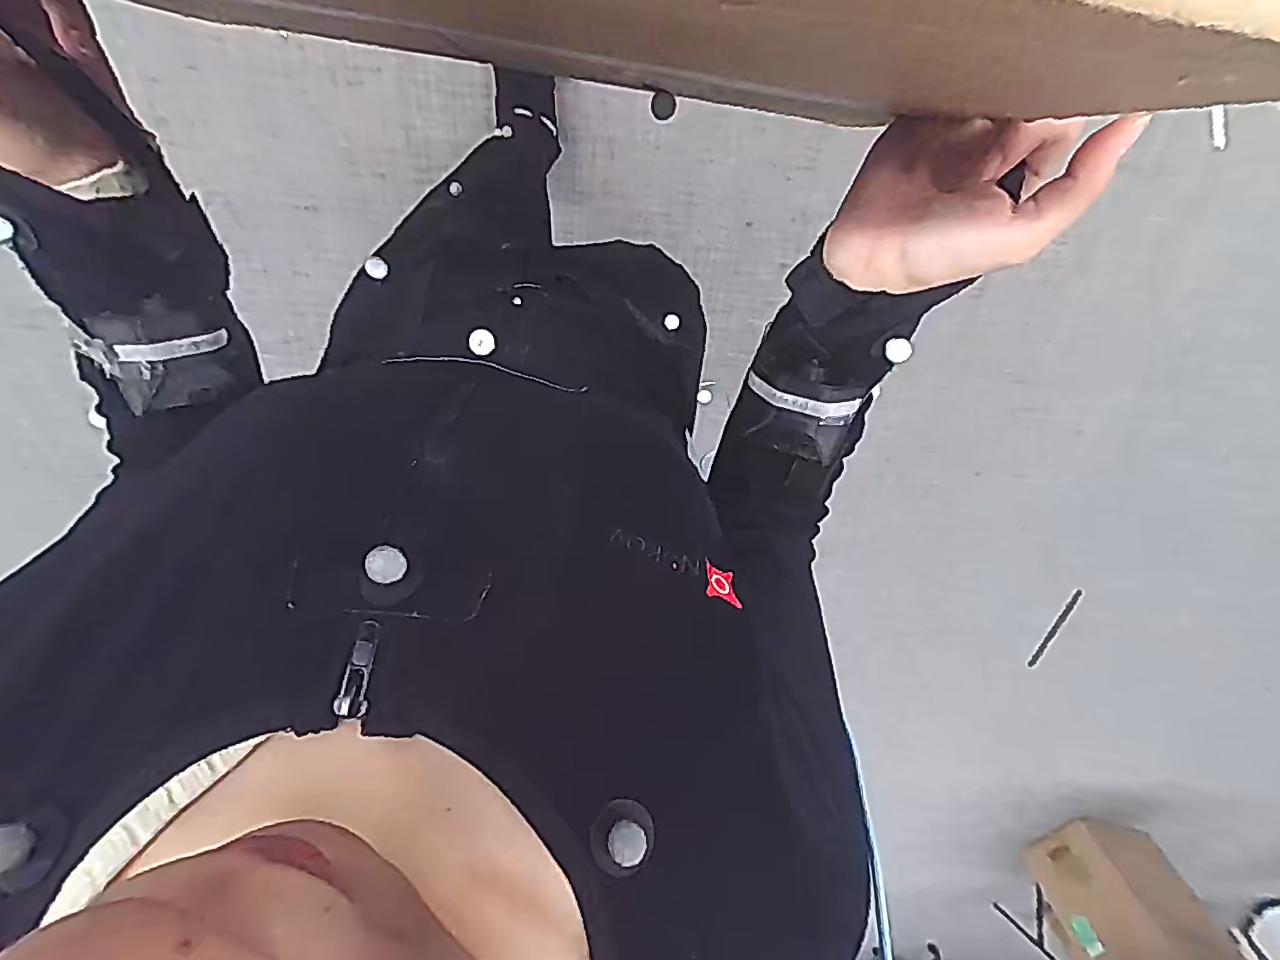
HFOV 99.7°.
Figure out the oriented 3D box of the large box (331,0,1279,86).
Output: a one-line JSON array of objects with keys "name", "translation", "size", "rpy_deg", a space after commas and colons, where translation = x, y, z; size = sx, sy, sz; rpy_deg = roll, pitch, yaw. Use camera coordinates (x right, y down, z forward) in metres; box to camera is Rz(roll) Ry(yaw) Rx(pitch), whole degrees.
[{"name": "large box", "translation": [-0.032, -0.317, 0.120], "size": [0.408, 0.320, 0.320], "rpy_deg": [4, 123, -6]}]
